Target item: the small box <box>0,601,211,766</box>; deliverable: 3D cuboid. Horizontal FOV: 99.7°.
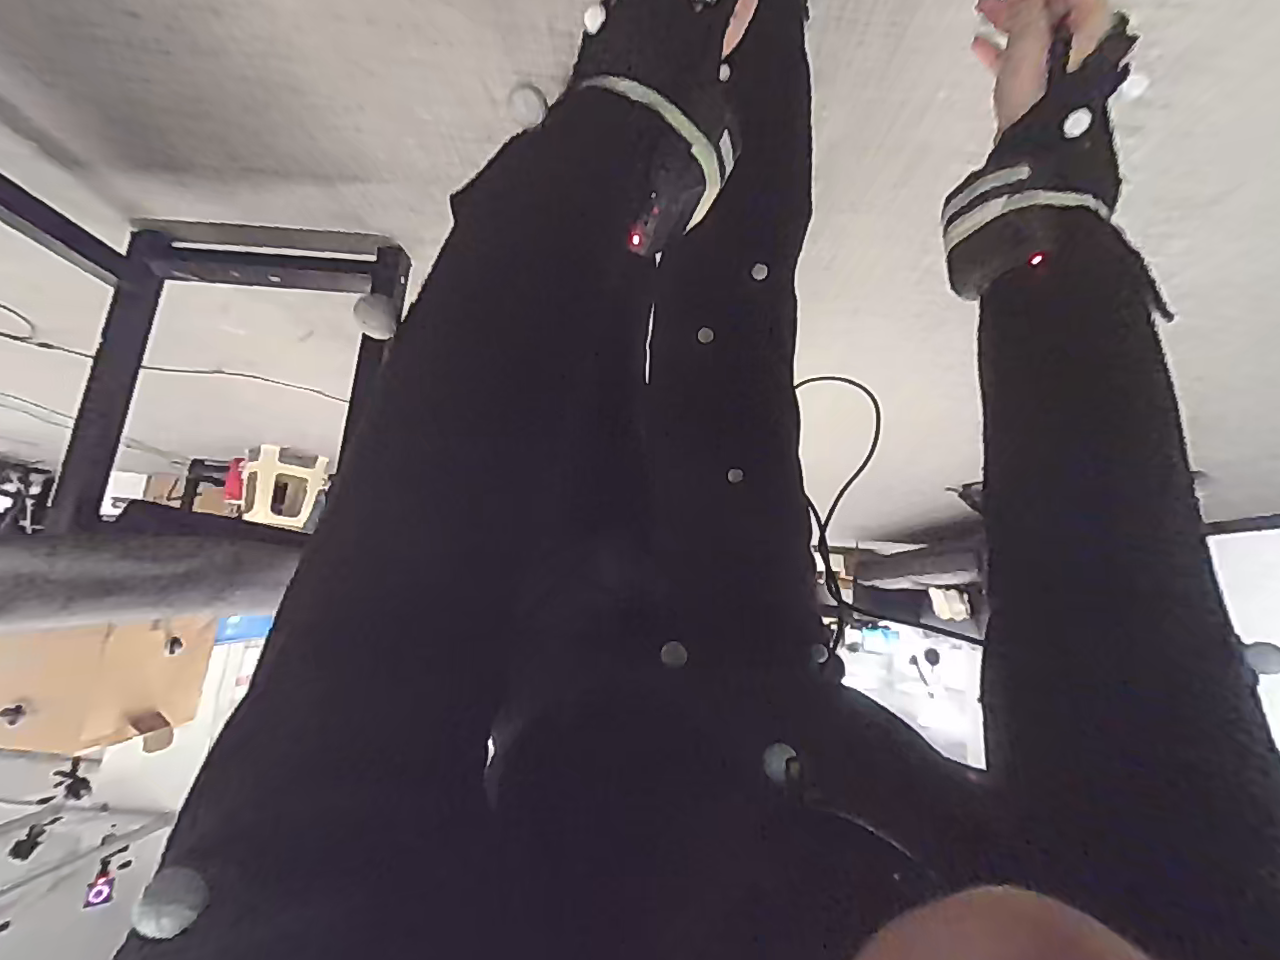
[{"bbox_3d":[-0.701,0.243,0.685,0.179,0.176,0.168,3,167,3],"label":"small box"}]
